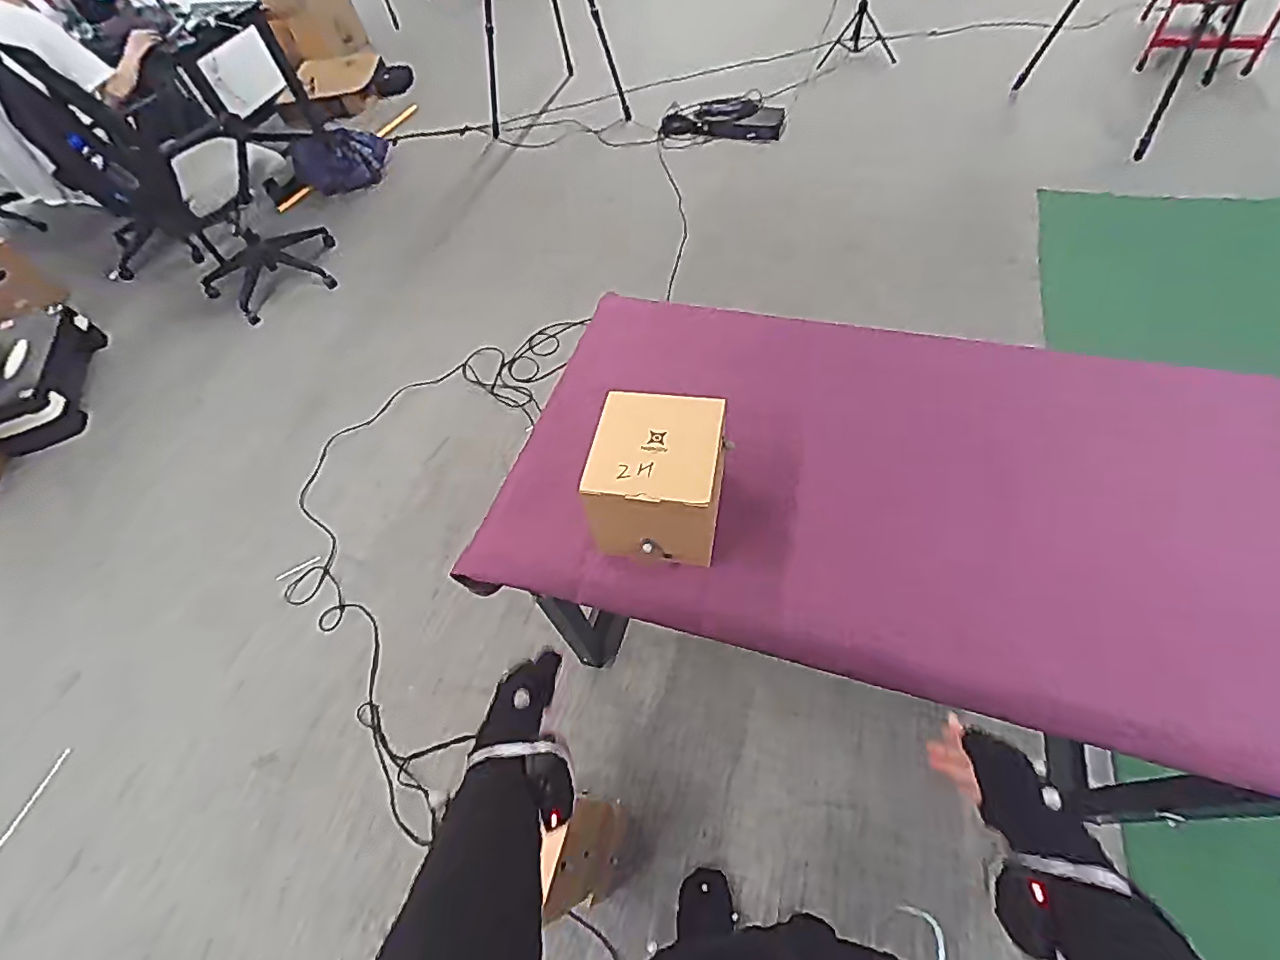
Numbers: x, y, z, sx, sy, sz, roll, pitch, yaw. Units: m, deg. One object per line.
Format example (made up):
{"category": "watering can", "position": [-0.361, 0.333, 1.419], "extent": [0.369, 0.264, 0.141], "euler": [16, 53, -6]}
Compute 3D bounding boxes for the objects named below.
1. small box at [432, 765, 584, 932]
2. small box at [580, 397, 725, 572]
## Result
{"category": "small box", "position": [-0.201, 0.595, 0.892], "extent": [0.168, 0.176, 0.179], "euler": [11, 61, 14]}
{"category": "small box", "position": [0.026, 0.007, 0.774], "extent": [0.168, 0.176, 0.179], "euler": [7, 56, 11]}
